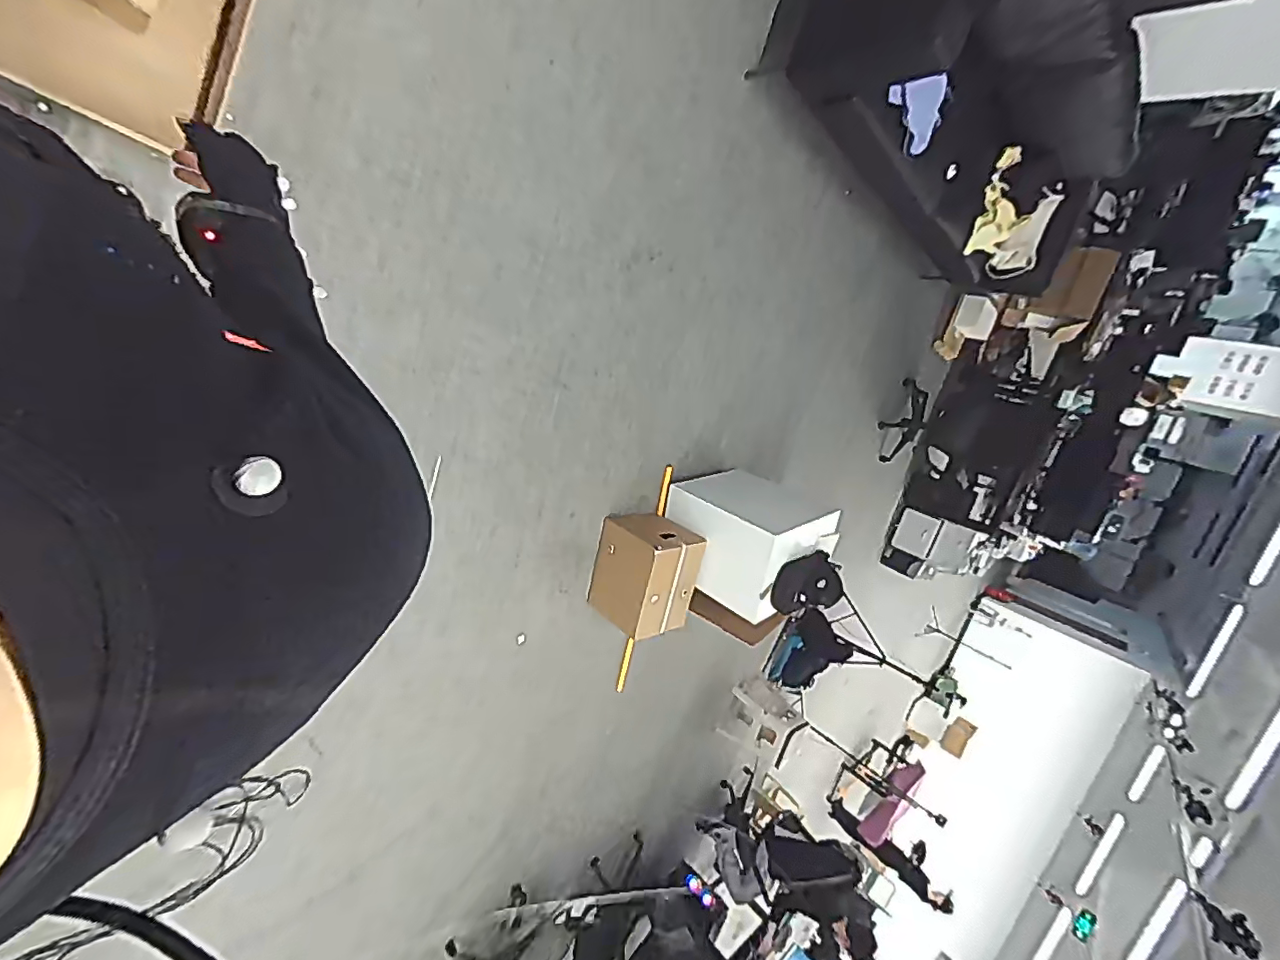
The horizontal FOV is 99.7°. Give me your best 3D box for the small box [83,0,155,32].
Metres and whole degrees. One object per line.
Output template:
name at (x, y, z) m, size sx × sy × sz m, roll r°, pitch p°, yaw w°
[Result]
small box at (-0.814, -0.820, 0.801) m, size 0.168 × 0.176 × 0.179 m, roll 18°, pitch 95°, yaw -50°
